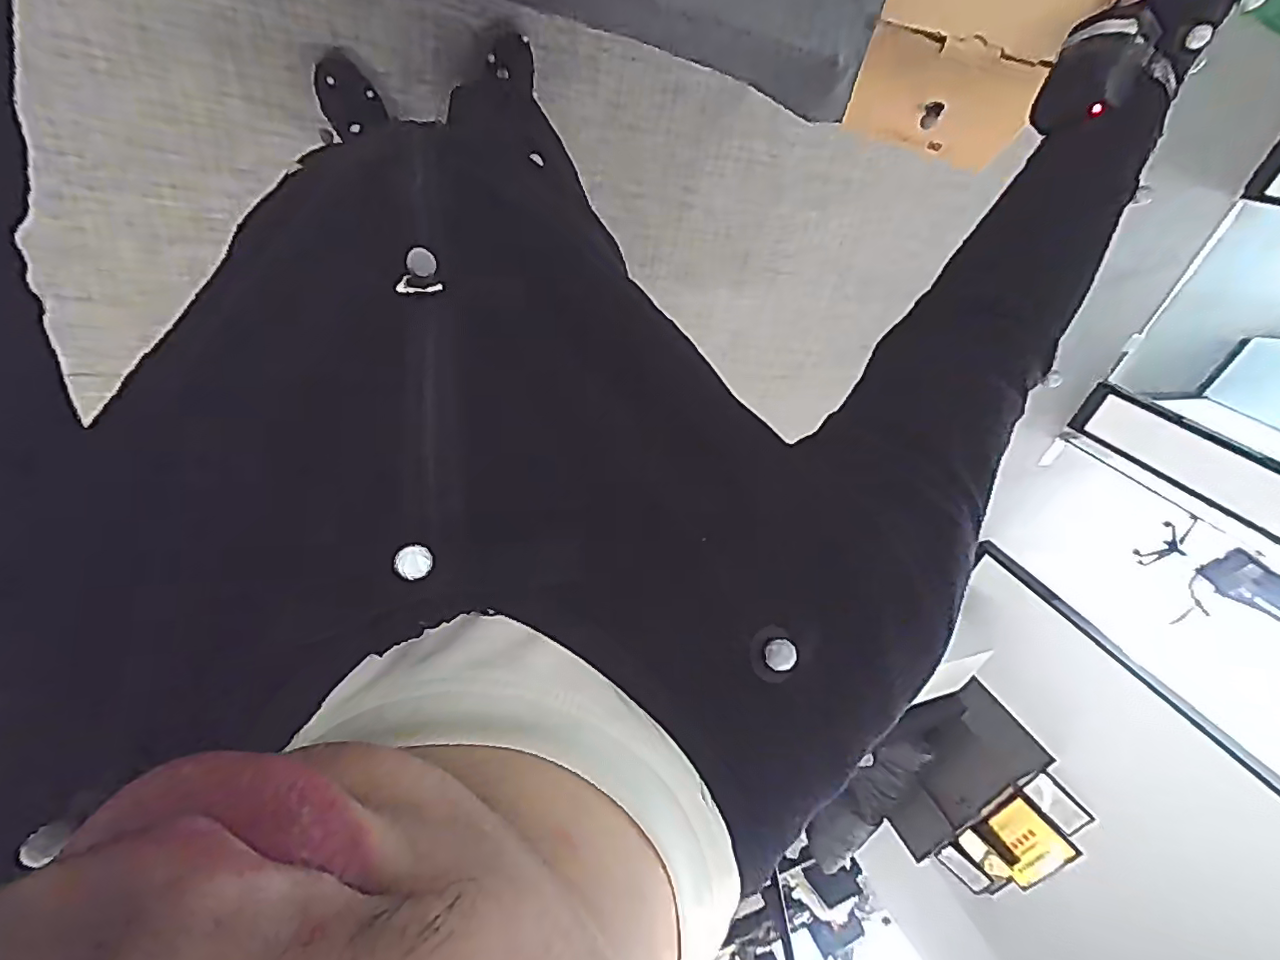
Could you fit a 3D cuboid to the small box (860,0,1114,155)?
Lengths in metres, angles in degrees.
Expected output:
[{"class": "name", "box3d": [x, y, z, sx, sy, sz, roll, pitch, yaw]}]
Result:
[{"class": "small box", "box3d": [0.326, -0.446, 0.506, 0.168, 0.176, 0.179, 24, 100, 7]}]
